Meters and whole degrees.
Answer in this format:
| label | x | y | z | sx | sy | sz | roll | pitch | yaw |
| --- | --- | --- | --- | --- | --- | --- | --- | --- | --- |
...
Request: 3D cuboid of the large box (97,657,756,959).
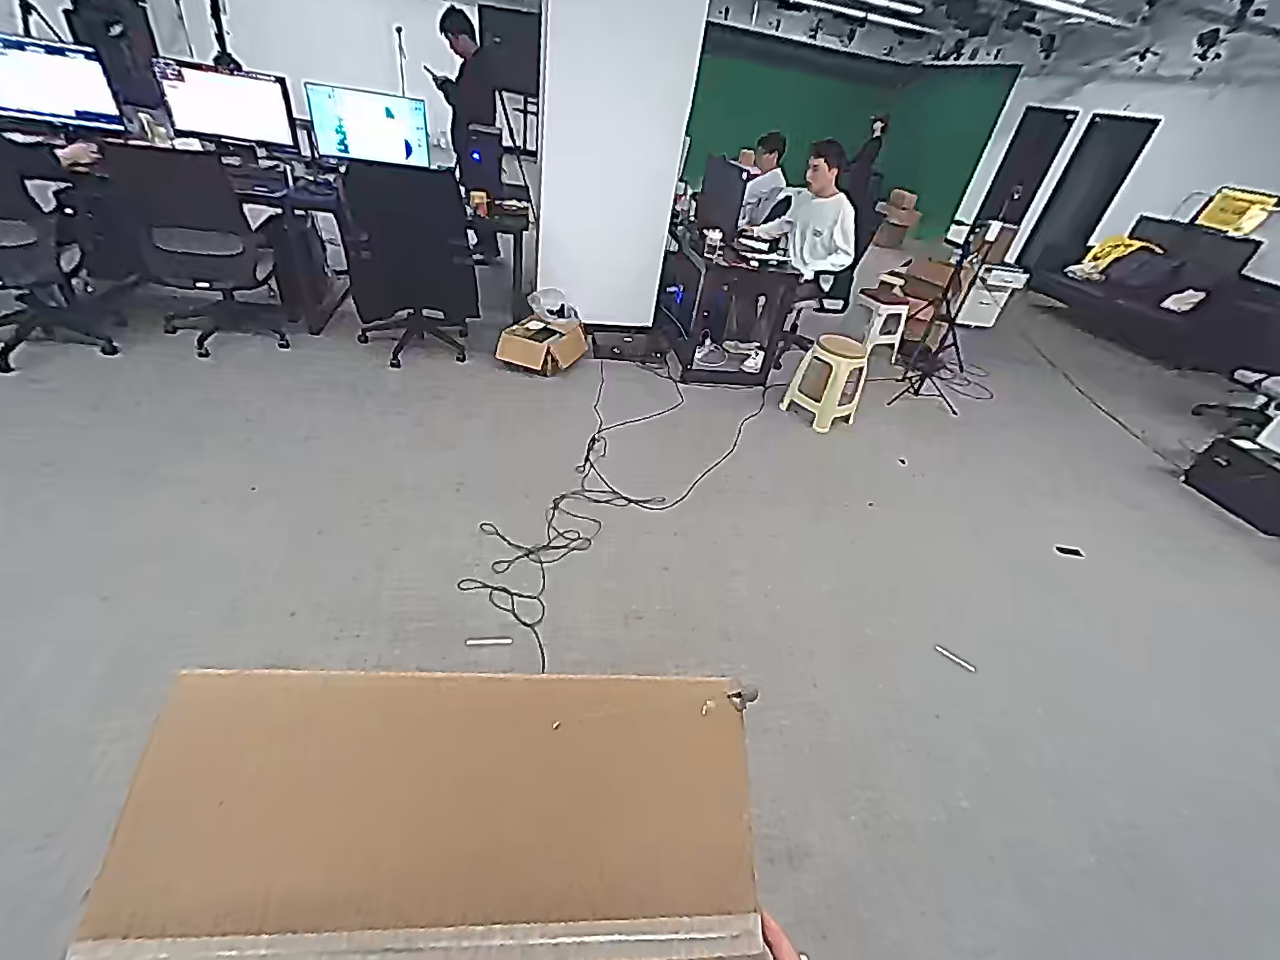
| label | x | y | z | sx | sy | sz | roll | pitch | yaw |
| --- | --- | --- | --- | --- | --- | --- | --- | --- | --- |
| large box | -0.140 | 0.344 | 0.477 | 0.408 | 0.320 | 0.320 | 3 | 64 | -7 |
